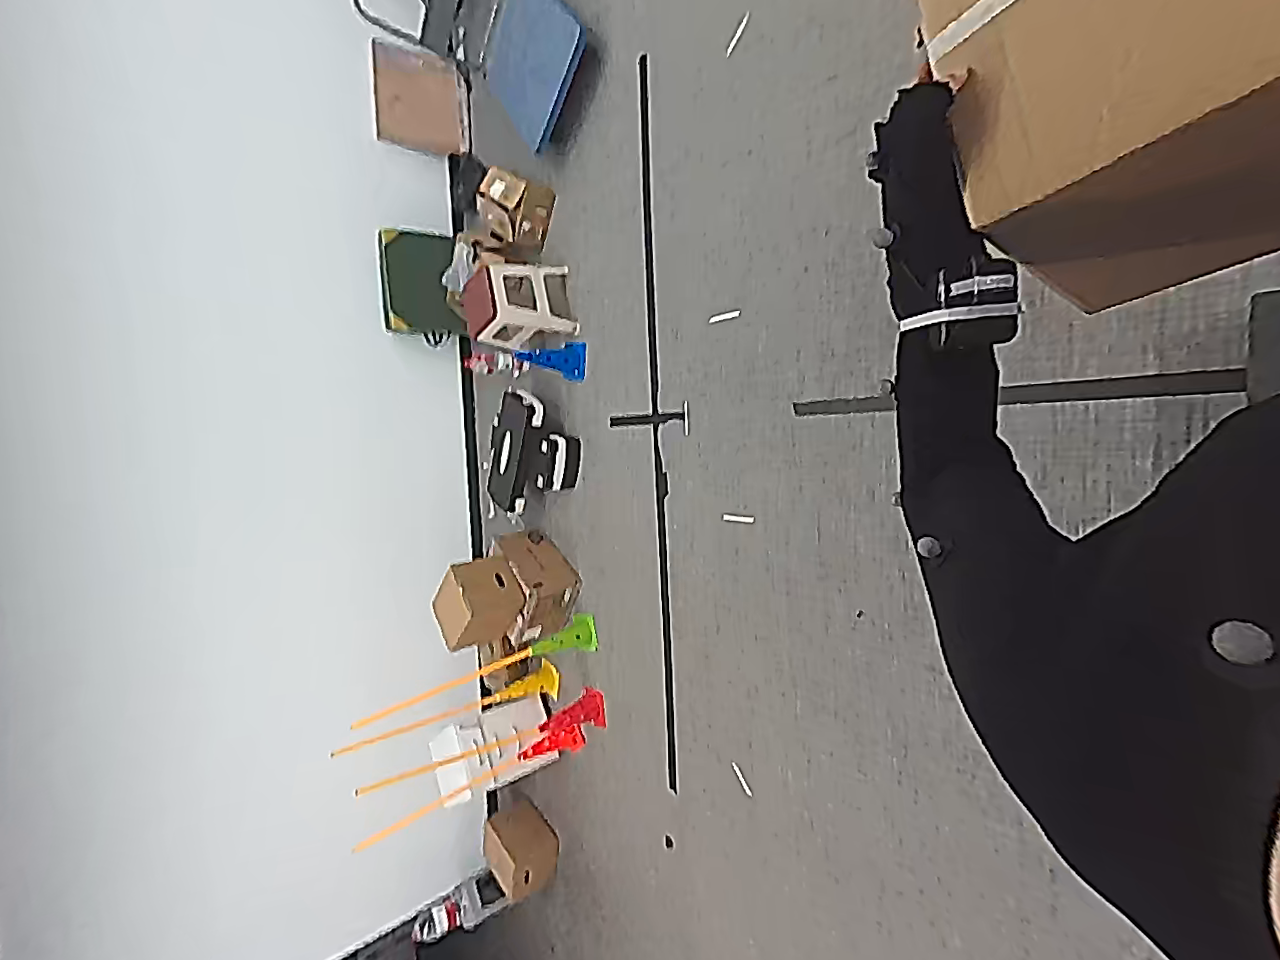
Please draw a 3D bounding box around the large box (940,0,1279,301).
[{"bbox_3d":[0.487,-0.384,0.378,0.408,0.320,0.320,-17,76,50],"label":"large box"}]
